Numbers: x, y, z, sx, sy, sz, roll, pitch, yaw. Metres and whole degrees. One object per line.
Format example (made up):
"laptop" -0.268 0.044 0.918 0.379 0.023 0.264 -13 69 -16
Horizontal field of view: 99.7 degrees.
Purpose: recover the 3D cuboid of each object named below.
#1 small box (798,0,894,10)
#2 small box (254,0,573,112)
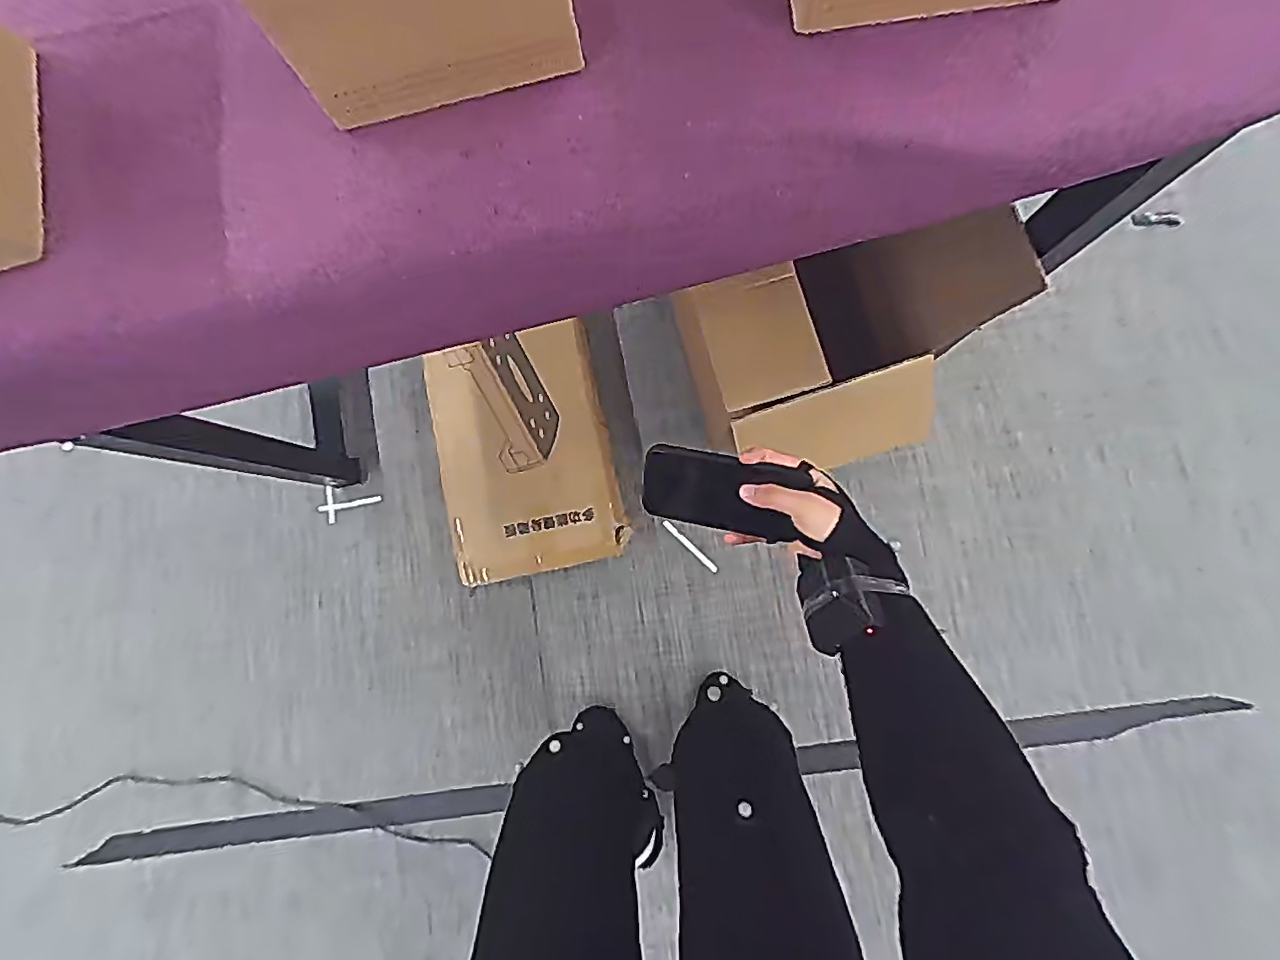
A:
"small box" 0.174 -0.397 0.281 0.179 0.176 0.168 -5 83 3
"small box" -0.141 -0.353 0.298 0.179 0.176 0.168 -12 80 3
